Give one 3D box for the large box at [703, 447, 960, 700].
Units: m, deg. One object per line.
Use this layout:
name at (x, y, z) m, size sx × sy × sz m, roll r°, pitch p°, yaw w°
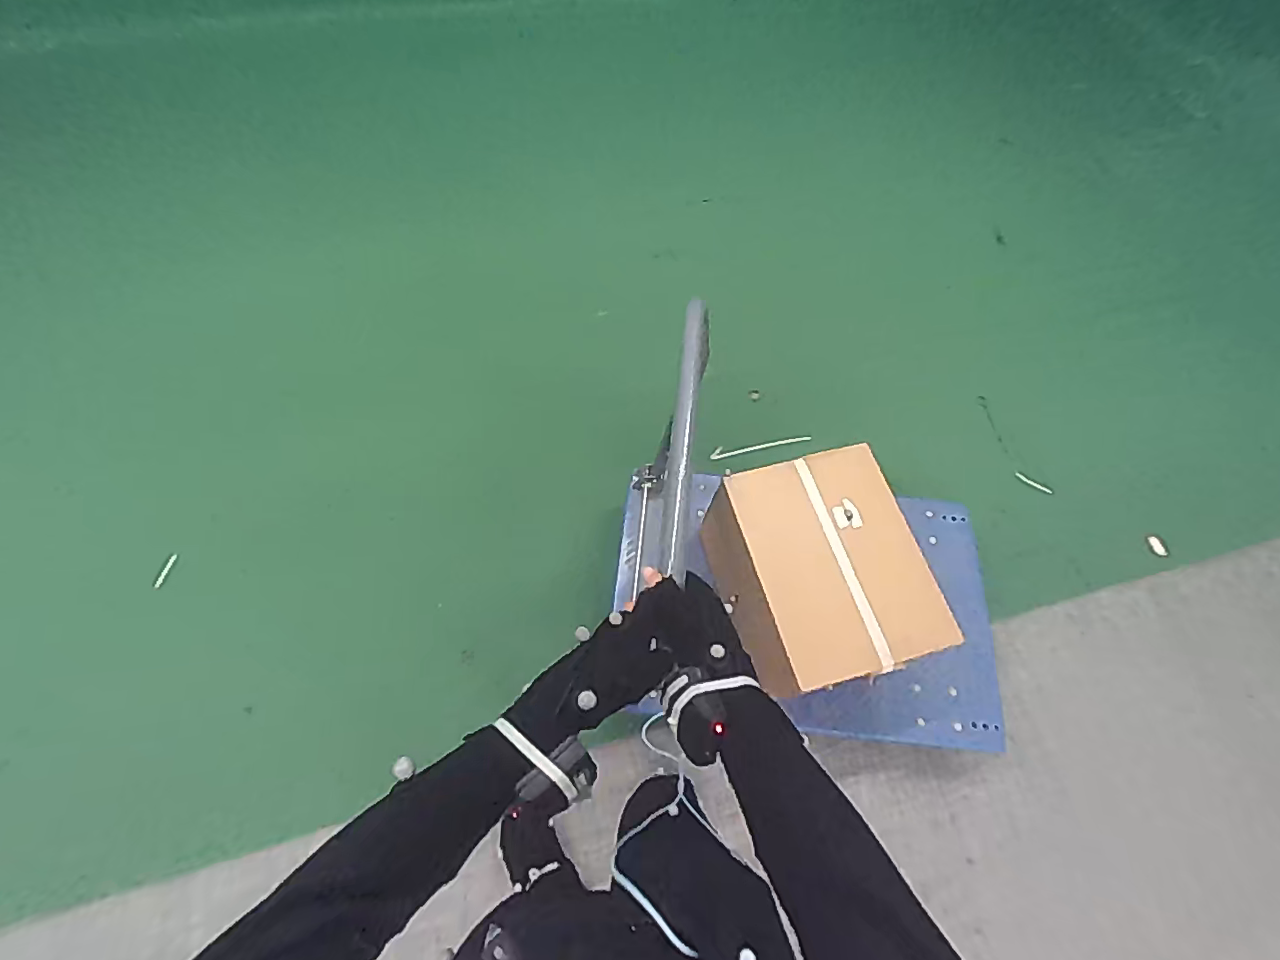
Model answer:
large box at (0.352, 0.202, 1.122) m, size 0.320 × 0.320 × 0.408 m, roll -12°, pitch 66°, yaw -9°
